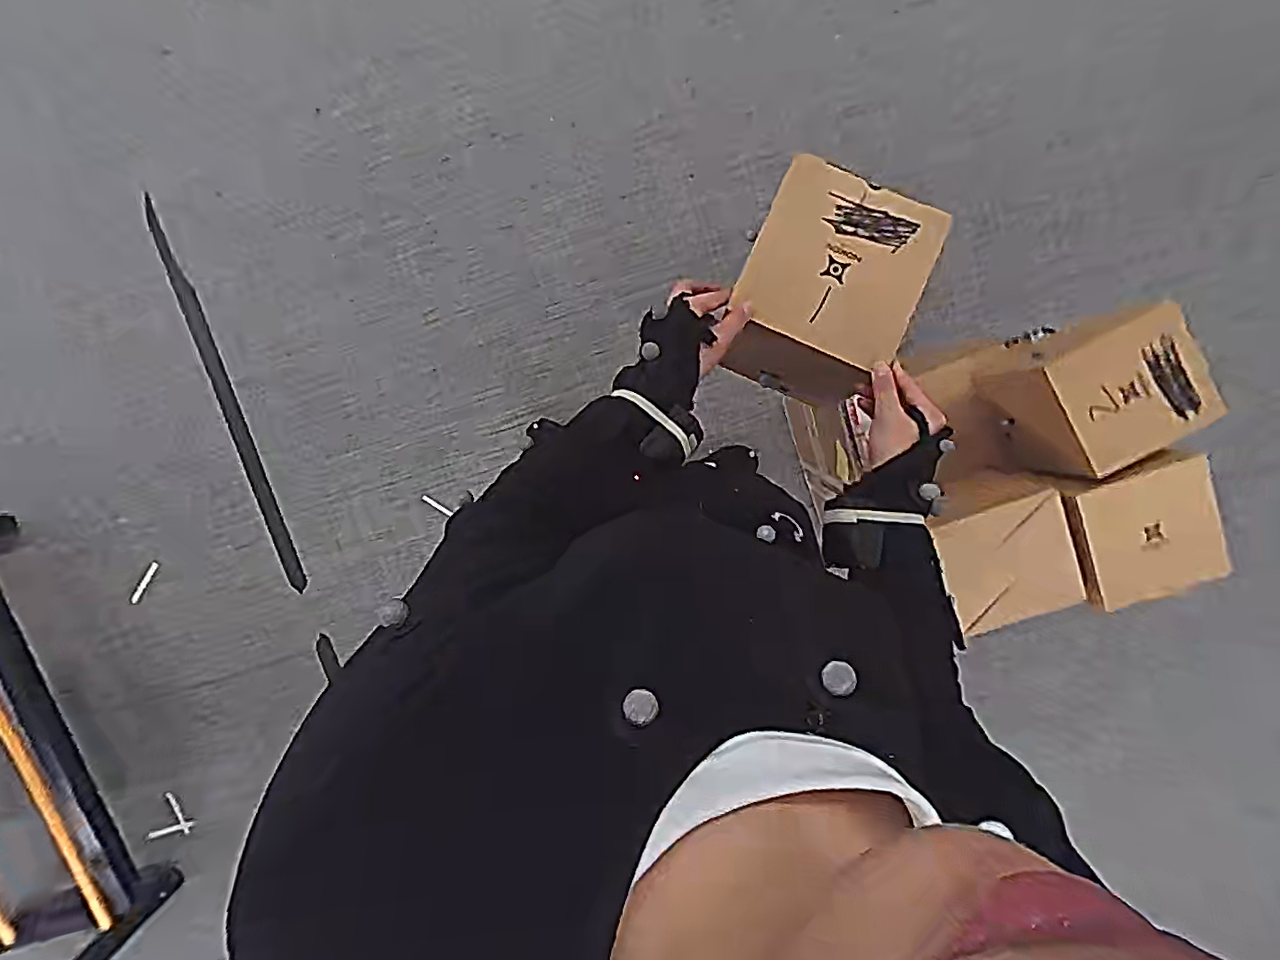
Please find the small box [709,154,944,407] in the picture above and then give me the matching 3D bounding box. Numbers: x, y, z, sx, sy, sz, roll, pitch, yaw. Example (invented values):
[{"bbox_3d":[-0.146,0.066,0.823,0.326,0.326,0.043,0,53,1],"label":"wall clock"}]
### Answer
[{"bbox_3d":[0.187,-0.202,0.599,0.168,0.176,0.179,25,87,2],"label":"small box"}]
